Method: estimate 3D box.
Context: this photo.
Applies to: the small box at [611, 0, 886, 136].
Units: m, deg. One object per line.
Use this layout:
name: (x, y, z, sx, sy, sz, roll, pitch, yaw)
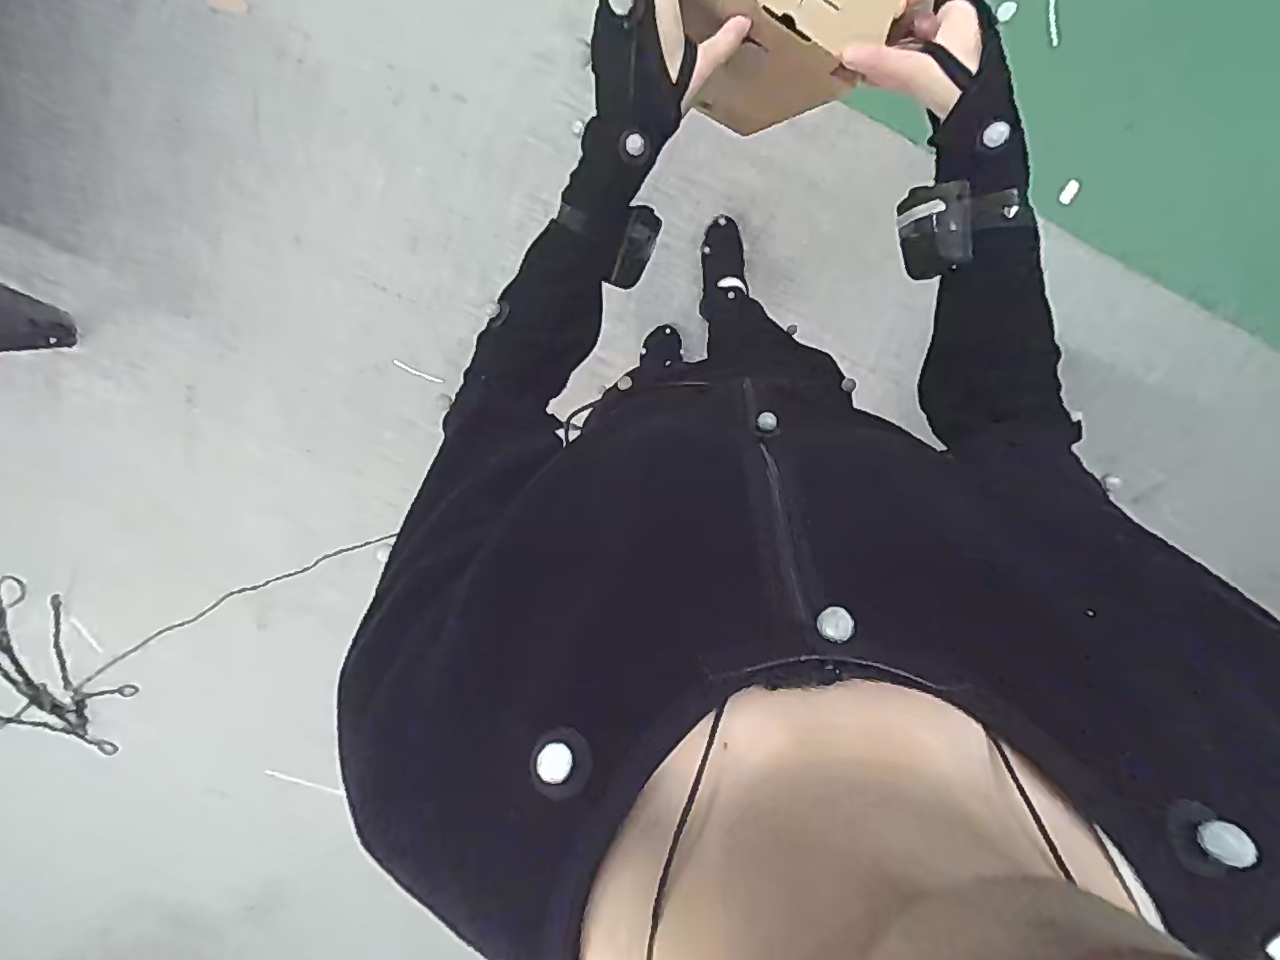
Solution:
small box: (0.089, -0.416, 0.437, 0.168, 0.176, 0.179, 11, 104, -25)
